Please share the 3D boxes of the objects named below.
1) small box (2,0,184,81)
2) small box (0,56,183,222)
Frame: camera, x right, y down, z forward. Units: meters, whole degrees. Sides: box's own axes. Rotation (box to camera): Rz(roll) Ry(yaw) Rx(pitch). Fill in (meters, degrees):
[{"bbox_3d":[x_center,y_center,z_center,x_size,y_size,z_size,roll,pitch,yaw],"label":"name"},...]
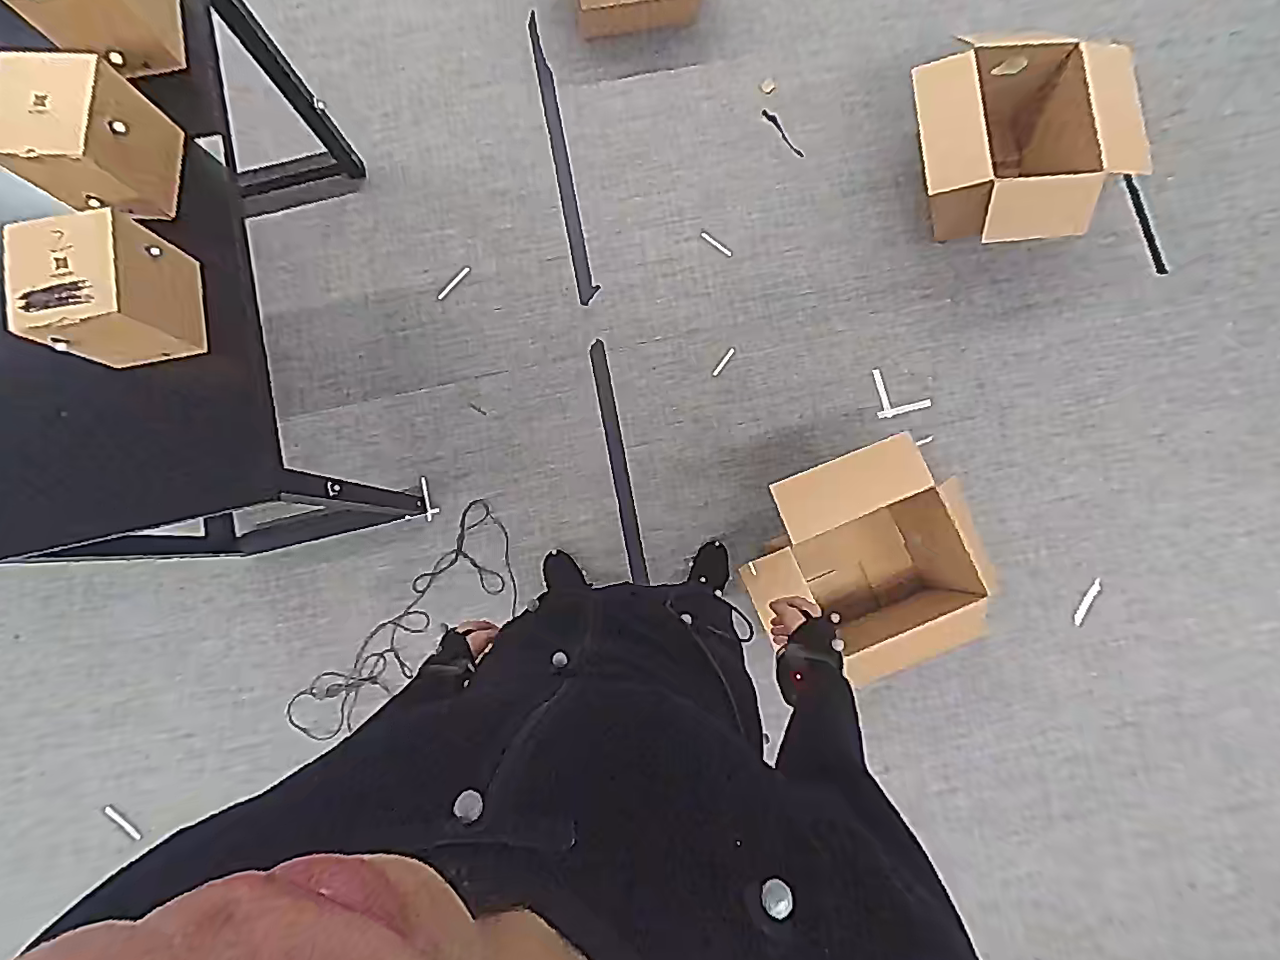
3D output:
[{"bbox_3d":[-0.952,-0.850,0.948,0.168,0.176,0.179,-10,85,0],"label":"small box"},{"bbox_3d":[-0.931,-0.572,0.921,0.168,0.176,0.179,1,85,1],"label":"small box"}]
